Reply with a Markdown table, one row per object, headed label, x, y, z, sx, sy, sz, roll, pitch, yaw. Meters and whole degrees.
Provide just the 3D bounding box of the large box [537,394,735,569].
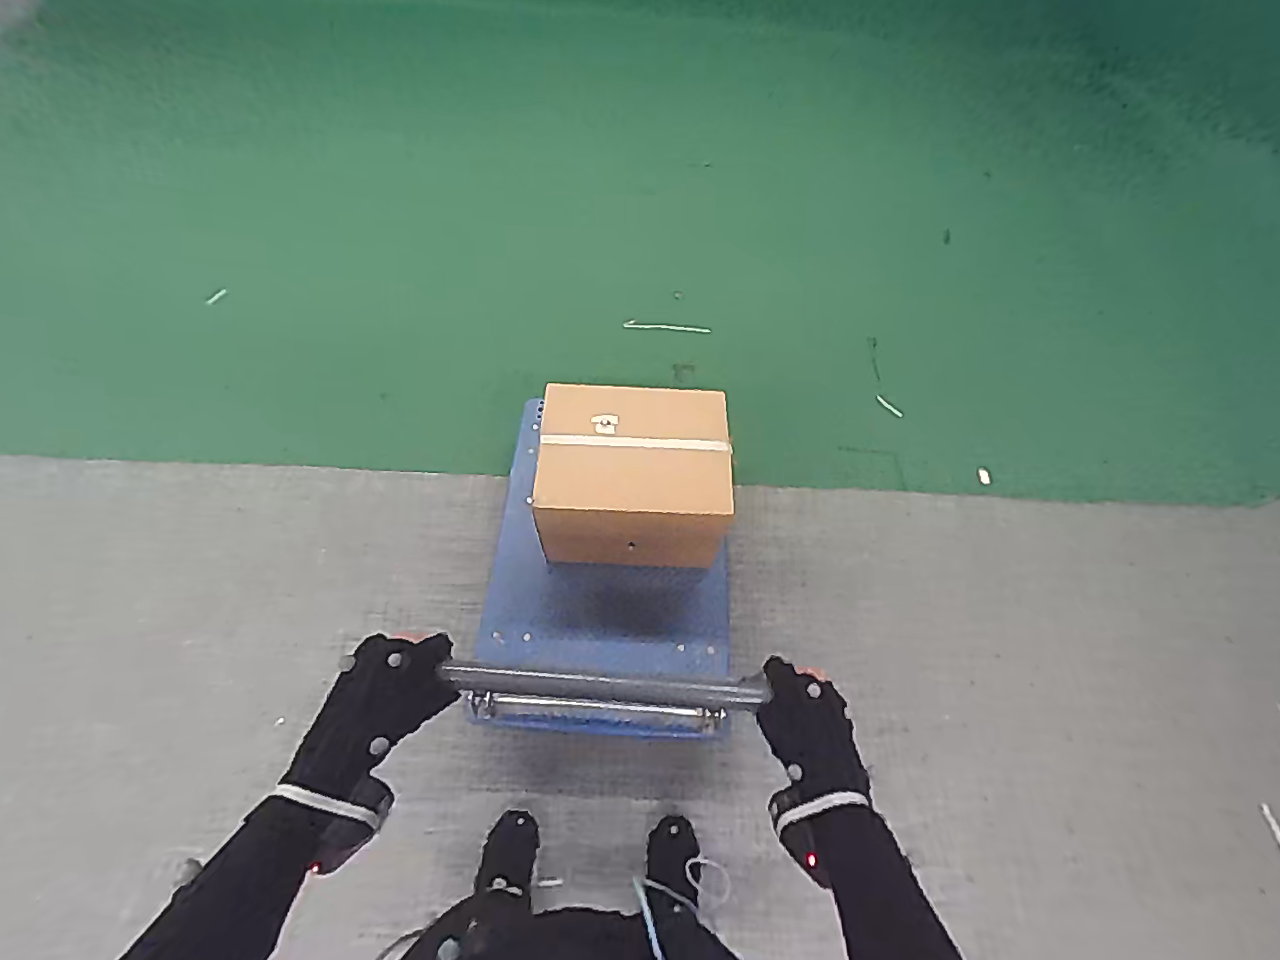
| label | x | y | z | sx | sy | sz | roll | pitch | yaw |
| --- | --- | --- | --- | --- | --- | --- | --- | --- | --- |
| large box | -0.011 | 0.015 | 1.282 | 0.408 | 0.320 | 0.320 | 2 | 59 | -2 |
